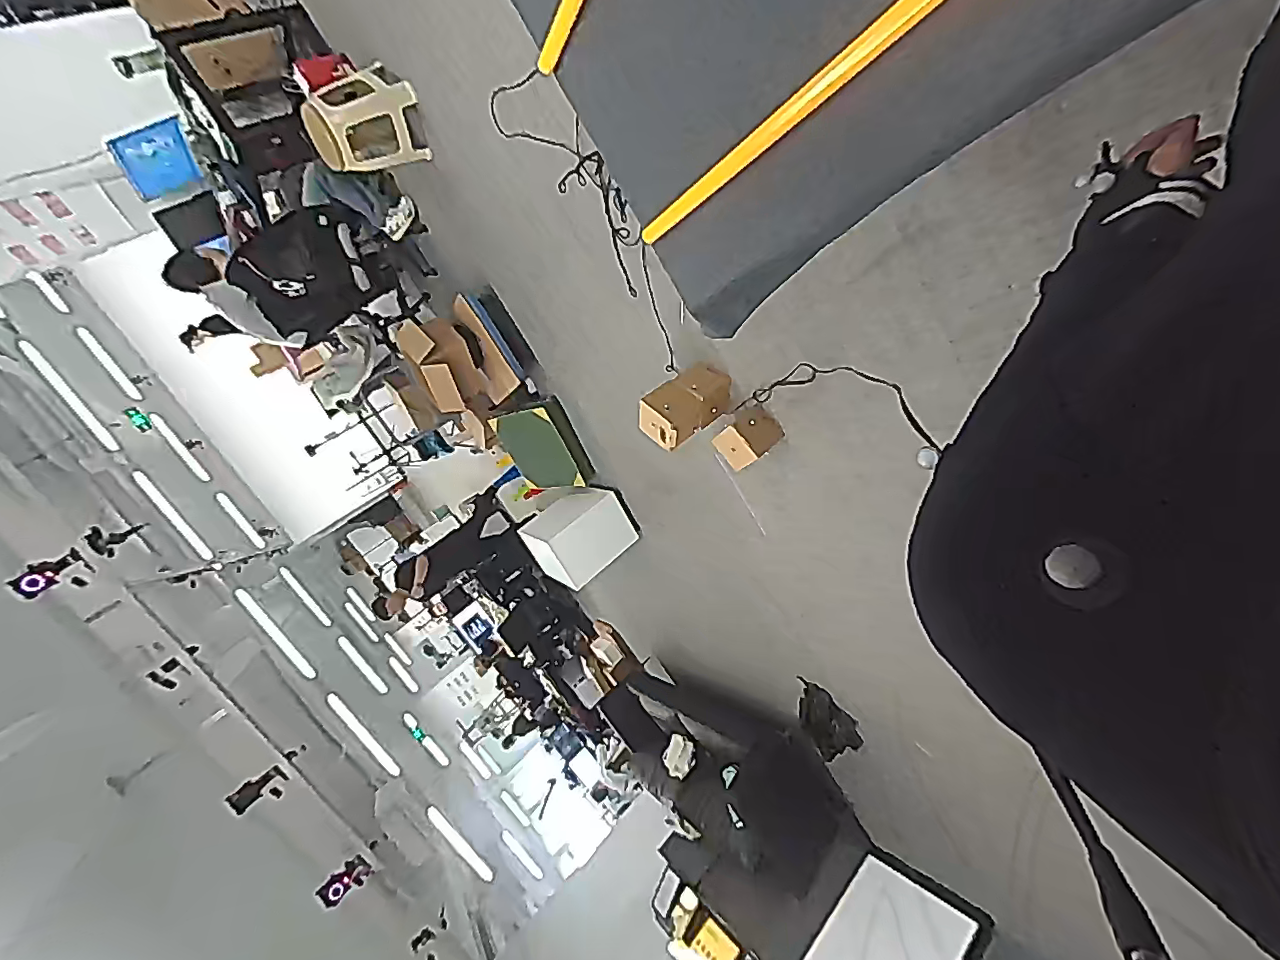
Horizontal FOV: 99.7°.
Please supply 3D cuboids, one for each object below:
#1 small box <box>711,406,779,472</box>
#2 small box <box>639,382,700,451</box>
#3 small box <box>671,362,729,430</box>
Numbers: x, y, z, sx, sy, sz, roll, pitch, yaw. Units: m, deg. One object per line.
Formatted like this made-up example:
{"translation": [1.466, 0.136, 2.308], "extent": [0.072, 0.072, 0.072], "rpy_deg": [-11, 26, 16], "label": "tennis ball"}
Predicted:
{"translation": [0.416, -0.163, 2.108], "extent": [0.168, 0.176, 0.179], "rpy_deg": [52, 156, 2], "label": "small box"}
{"translation": [0.114, -0.251, 2.104], "extent": [0.179, 0.176, 0.168], "rpy_deg": [41, 152, 25], "label": "small box"}
{"translation": [0.240, -0.339, 2.166], "extent": [0.168, 0.176, 0.179], "rpy_deg": [38, 151, 29], "label": "small box"}
